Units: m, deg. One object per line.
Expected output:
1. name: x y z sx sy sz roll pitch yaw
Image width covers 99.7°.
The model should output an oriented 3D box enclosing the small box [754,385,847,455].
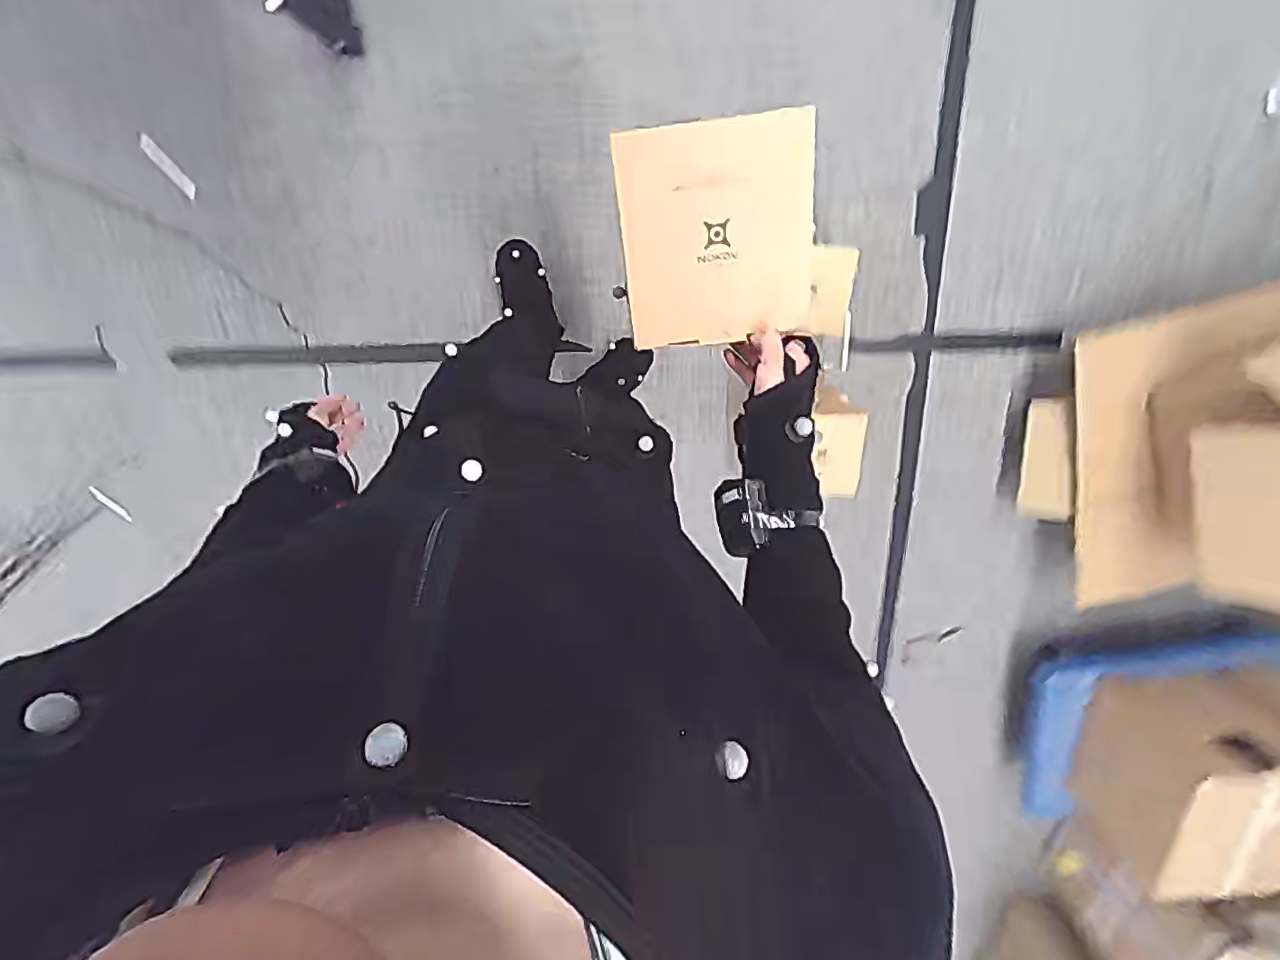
1. small box: 0.382 -0.135 1.320 0.179 0.176 0.168 -2 112 0

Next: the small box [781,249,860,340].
1. small box: 0.364 -0.418 1.212 0.168 0.176 0.179 4 111 -2

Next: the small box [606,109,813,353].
1. small box: 0.061 -0.239 0.532 0.168 0.176 0.179 -8 116 0

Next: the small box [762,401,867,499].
1. small box: 0.366 -0.070 1.168 0.168 0.176 0.179 1 112 0
